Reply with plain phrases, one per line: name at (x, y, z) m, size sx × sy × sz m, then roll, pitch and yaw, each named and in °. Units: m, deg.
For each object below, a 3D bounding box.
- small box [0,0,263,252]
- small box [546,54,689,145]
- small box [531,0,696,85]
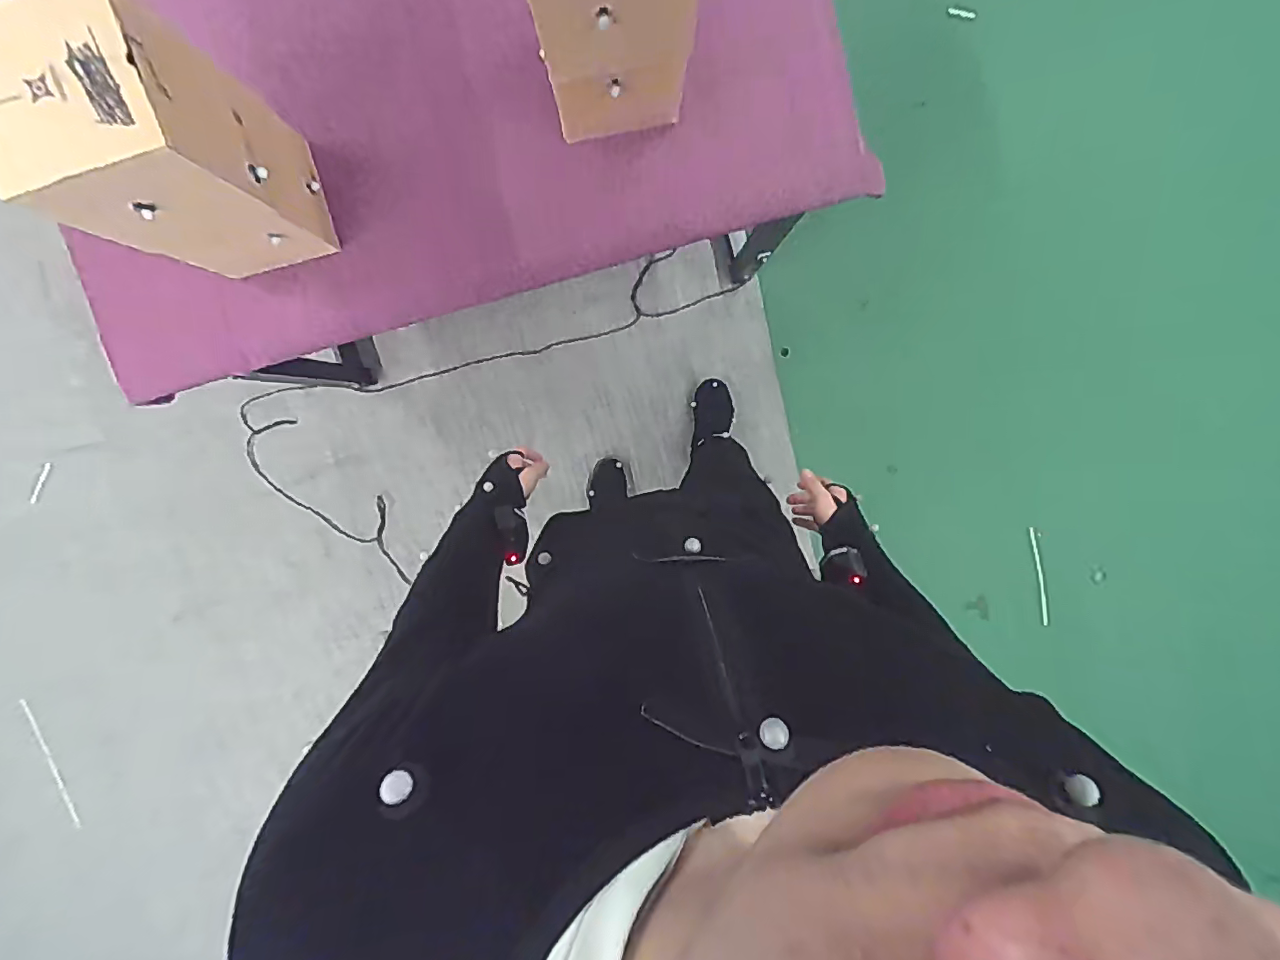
small box at (-0.550, -0.370, 0.578) m, size 0.179 × 0.176 × 0.168 m, roll -17°, pitch 97°, yaw 1°
small box at (-0.039, -0.589, 0.731) m, size 0.179 × 0.176 × 0.168 m, roll -10°, pitch 97°, yaw 1°
small box at (-0.035, -0.559, 0.570) m, size 0.179 × 0.176 × 0.168 m, roll -10°, pitch 97°, yaw 2°
